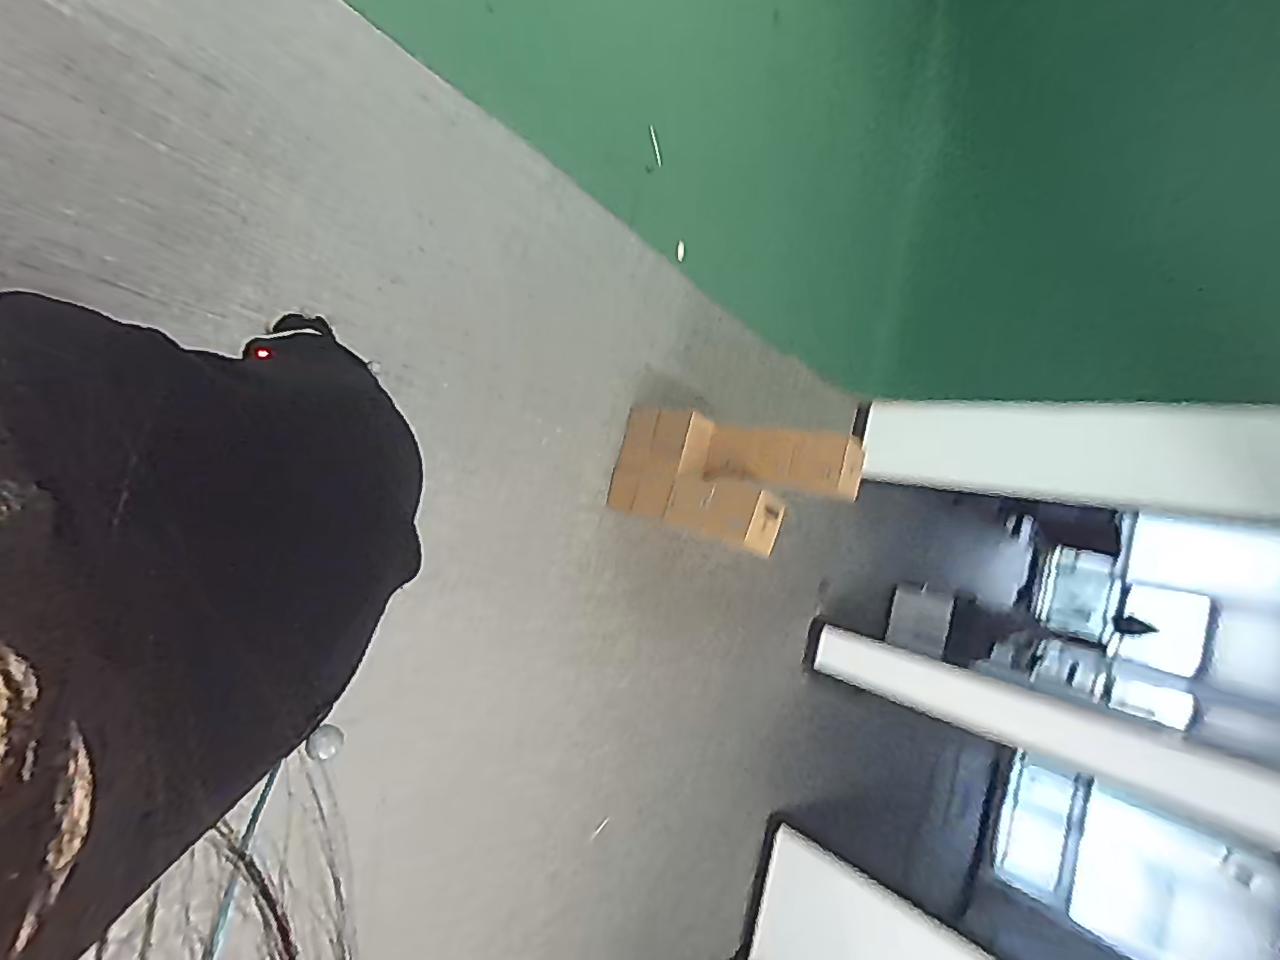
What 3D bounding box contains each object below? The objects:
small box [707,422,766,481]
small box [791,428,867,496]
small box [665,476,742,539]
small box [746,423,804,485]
[{"bbox_3d":[0.364,-0.106,1.956,0.168,0.176,0.179,15,86,-48],"label":"small box"},{"bbox_3d":[0.604,-0.060,1.739,0.168,0.176,0.179,18,84,-48],"label":"small box"},{"bbox_3d":[0.216,0.090,1.836,0.179,0.176,0.168,23,81,-46],"label":"small box"},{"bbox_3d":[0.484,-0.091,1.848,0.168,0.176,0.179,16,87,-48],"label":"small box"}]
